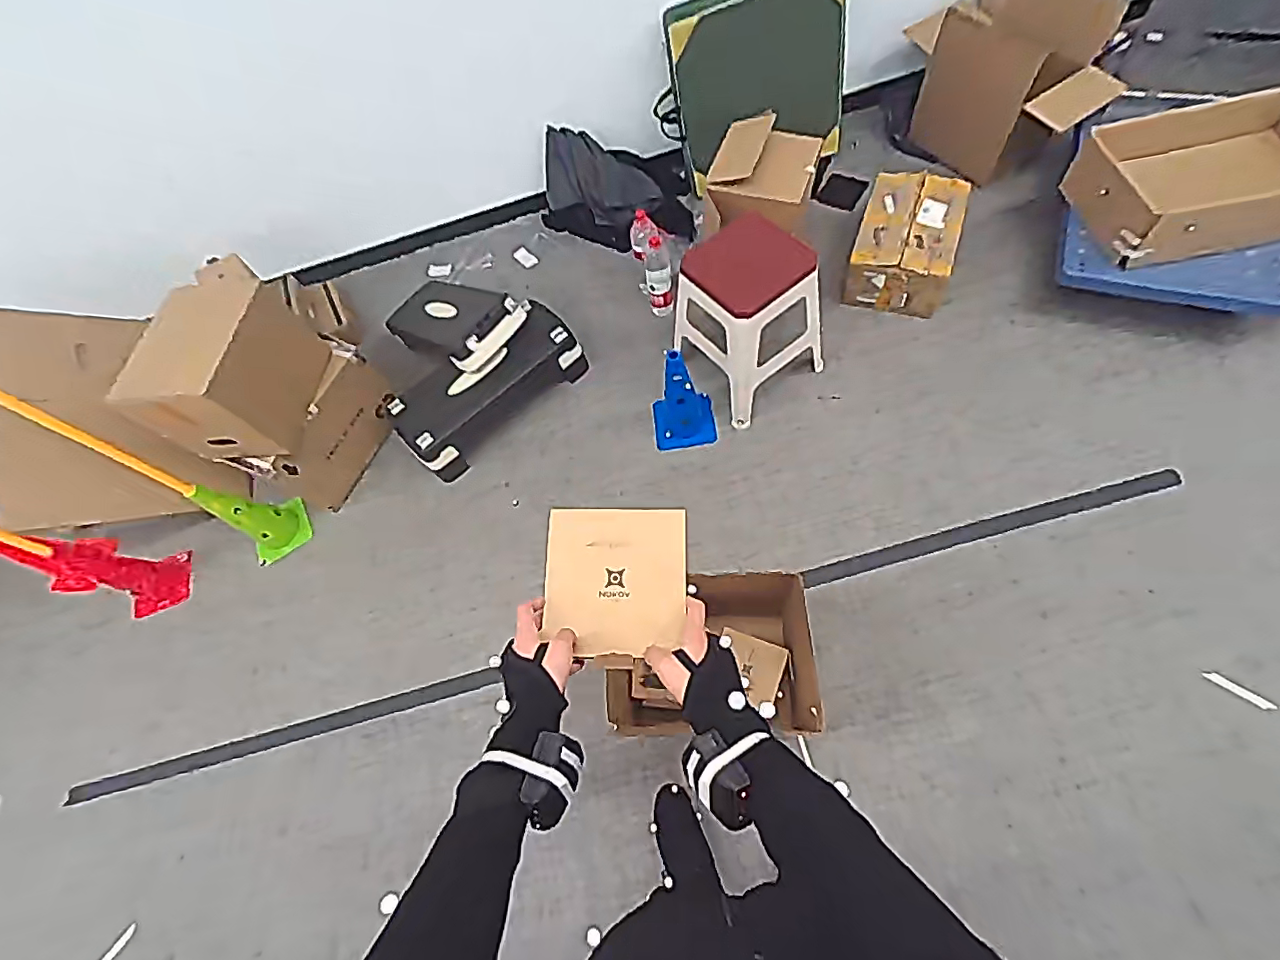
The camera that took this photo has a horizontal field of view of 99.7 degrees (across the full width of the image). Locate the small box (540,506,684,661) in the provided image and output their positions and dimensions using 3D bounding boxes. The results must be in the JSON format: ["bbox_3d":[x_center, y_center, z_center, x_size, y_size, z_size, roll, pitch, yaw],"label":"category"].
[{"bbox_3d":[-0.026,0.138,0.705,0.168,0.176,0.179,1,73,2],"label":"small box"}]
